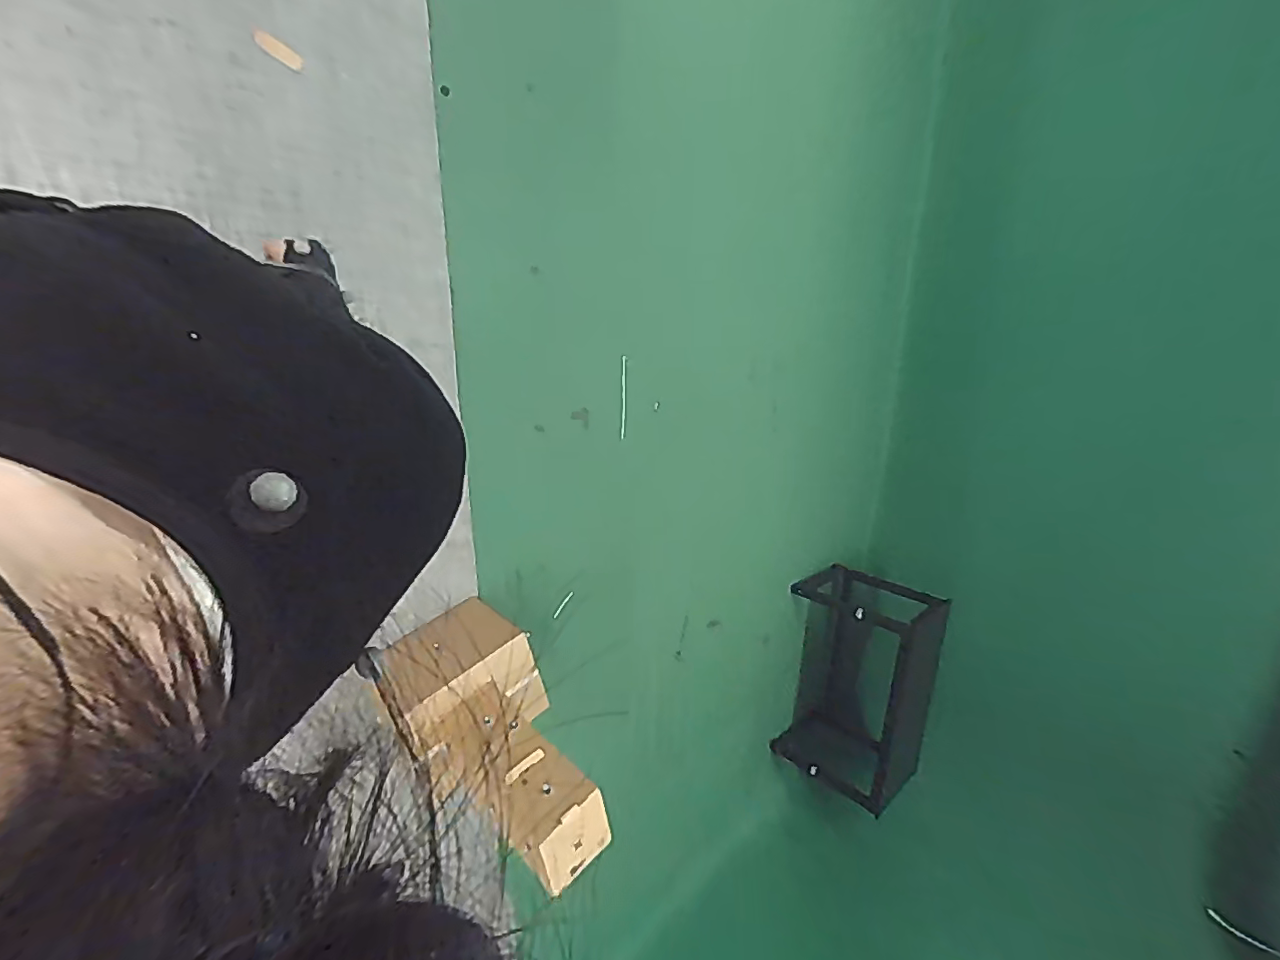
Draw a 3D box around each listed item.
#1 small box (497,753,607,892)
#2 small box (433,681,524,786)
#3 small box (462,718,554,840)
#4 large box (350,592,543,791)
[{"bbox_3d":[-0.200,0.754,1.218,0.168,0.176,0.179,-26,118,-37],"label":"small box"},{"bbox_3d":[-0.422,0.675,1.447,0.179,0.176,0.168,-26,119,-37],"label":"small box"},{"bbox_3d":[-0.316,0.718,1.329,0.168,0.176,0.179,-24,118,-38],"label":"small box"},{"bbox_3d":[-0.571,0.610,1.631,0.408,0.320,0.320,-31,124,-36],"label":"large box"}]
